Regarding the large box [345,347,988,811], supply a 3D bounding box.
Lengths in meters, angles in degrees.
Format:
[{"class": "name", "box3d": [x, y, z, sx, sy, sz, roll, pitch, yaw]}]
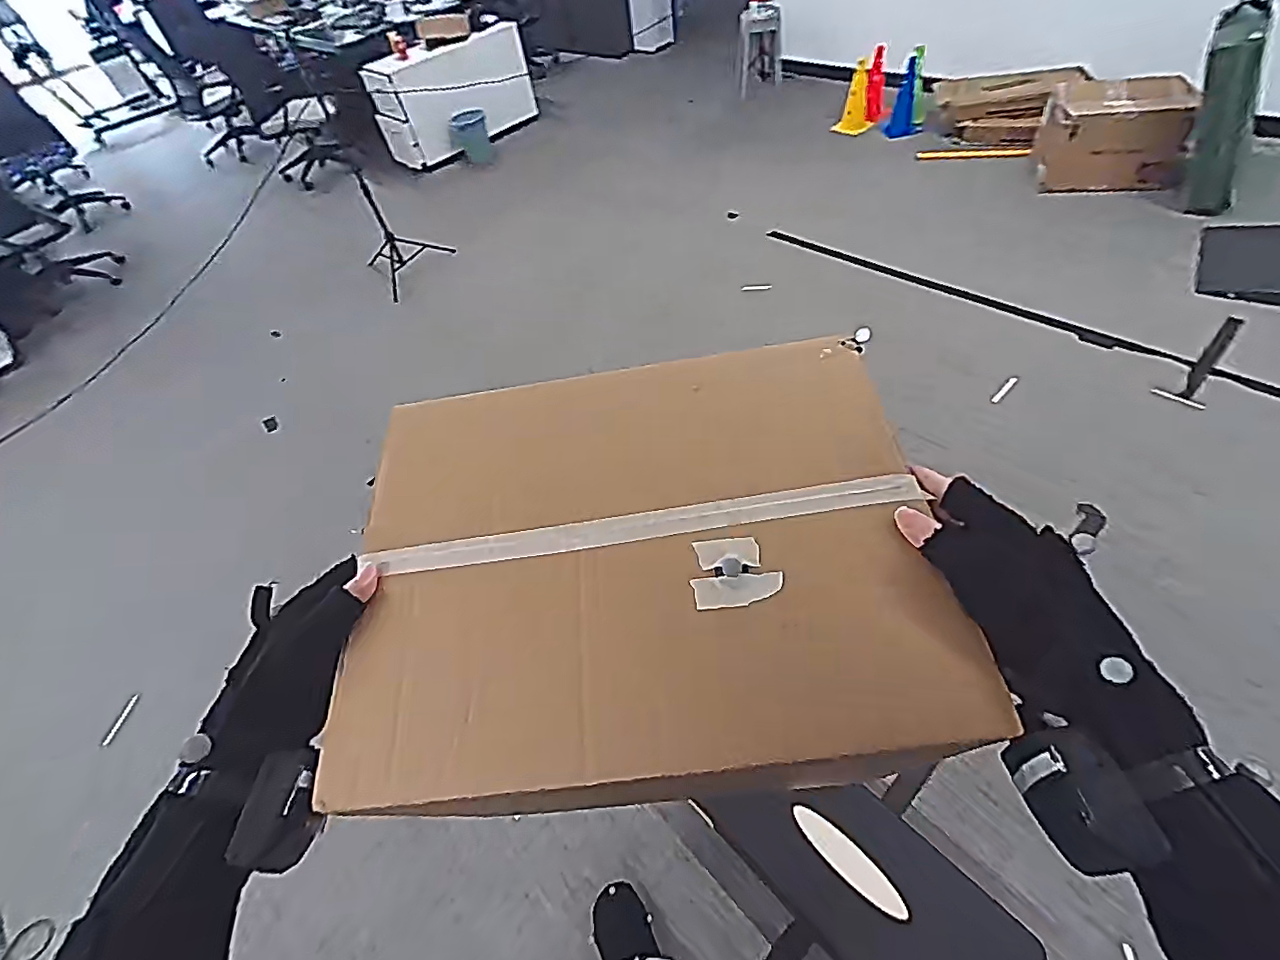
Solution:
[{"class": "large box", "box3d": [0.013, 0.118, 0.529, 0.408, 0.320, 0.320, -8, 58, 3]}]
